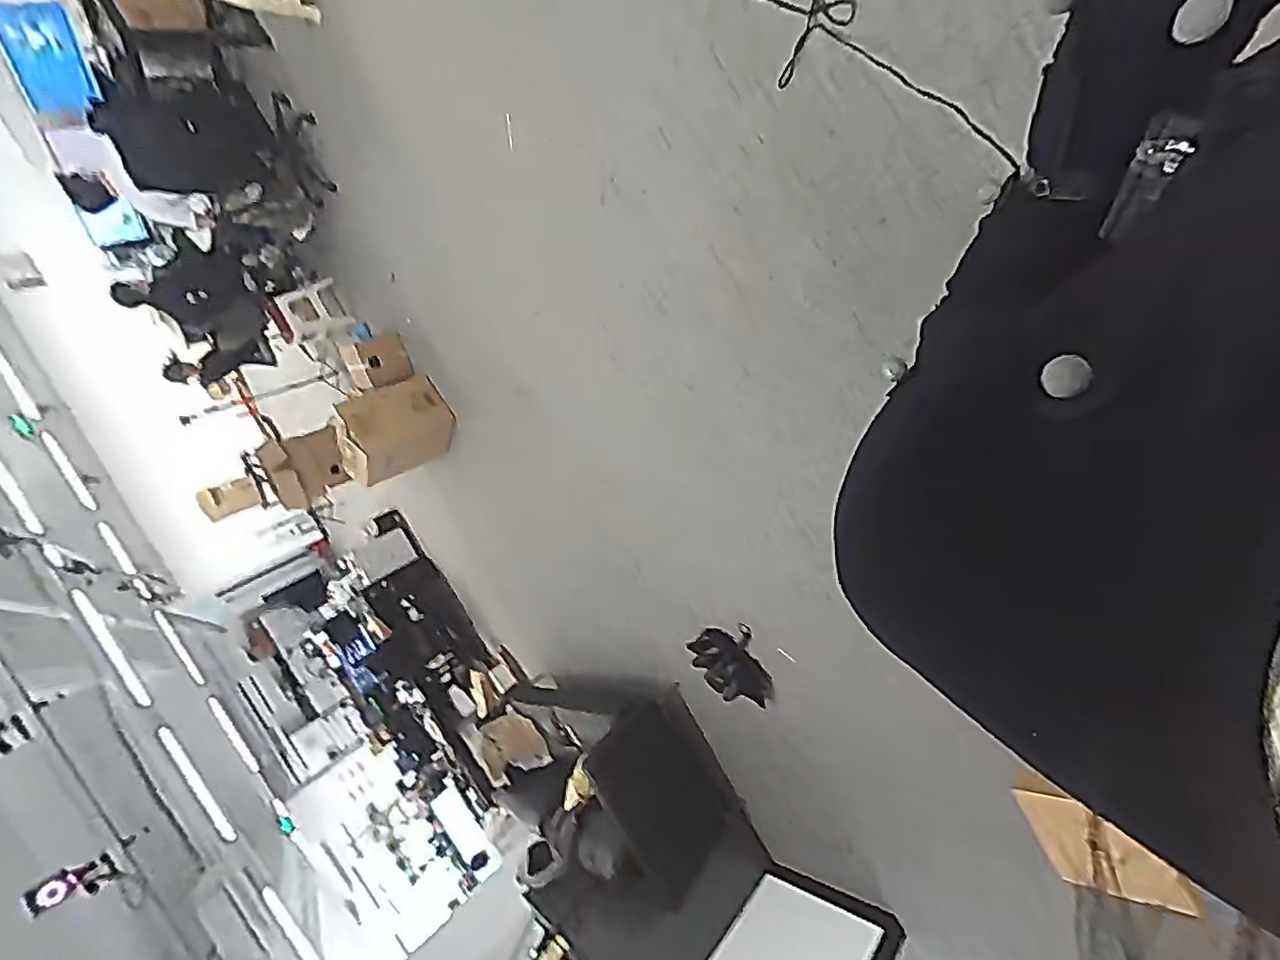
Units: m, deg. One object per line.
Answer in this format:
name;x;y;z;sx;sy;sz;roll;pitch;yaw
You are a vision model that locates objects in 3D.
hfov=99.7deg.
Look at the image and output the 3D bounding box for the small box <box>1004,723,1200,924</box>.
small box;0.711;0.509;0.831;0.168;0.176;0.179;-29;90;54
